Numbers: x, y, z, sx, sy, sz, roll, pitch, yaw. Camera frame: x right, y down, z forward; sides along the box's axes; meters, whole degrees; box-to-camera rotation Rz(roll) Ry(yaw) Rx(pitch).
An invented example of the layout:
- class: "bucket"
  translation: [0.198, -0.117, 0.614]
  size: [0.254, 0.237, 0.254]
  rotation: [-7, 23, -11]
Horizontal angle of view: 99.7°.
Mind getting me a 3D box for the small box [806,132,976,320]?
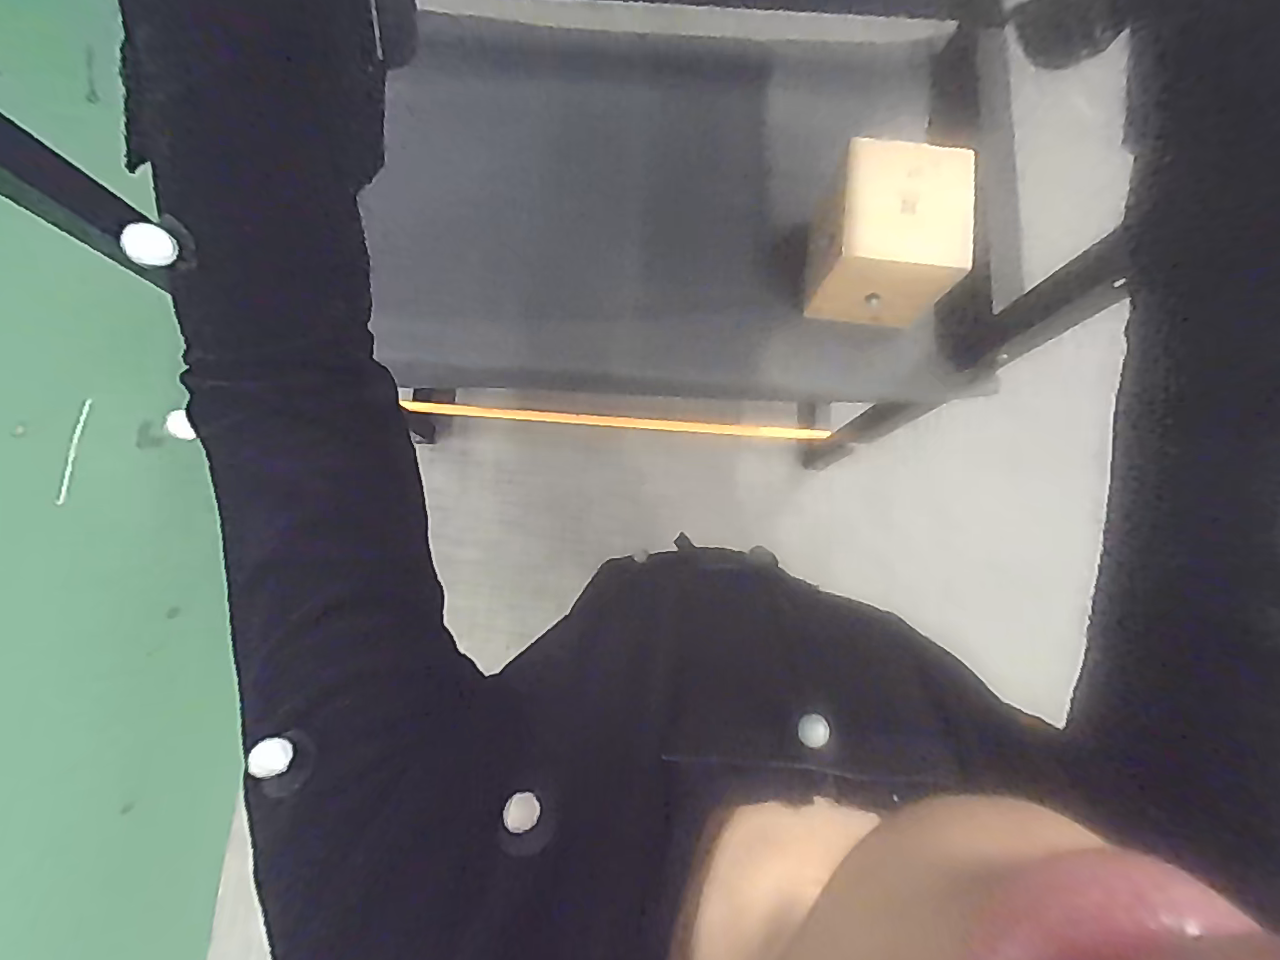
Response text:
- class: "small box"
  translation: [0.345, -0.348, 0.771]
  size: [0.168, 0.176, 0.179]
  rotation: [7, 80, 1]
